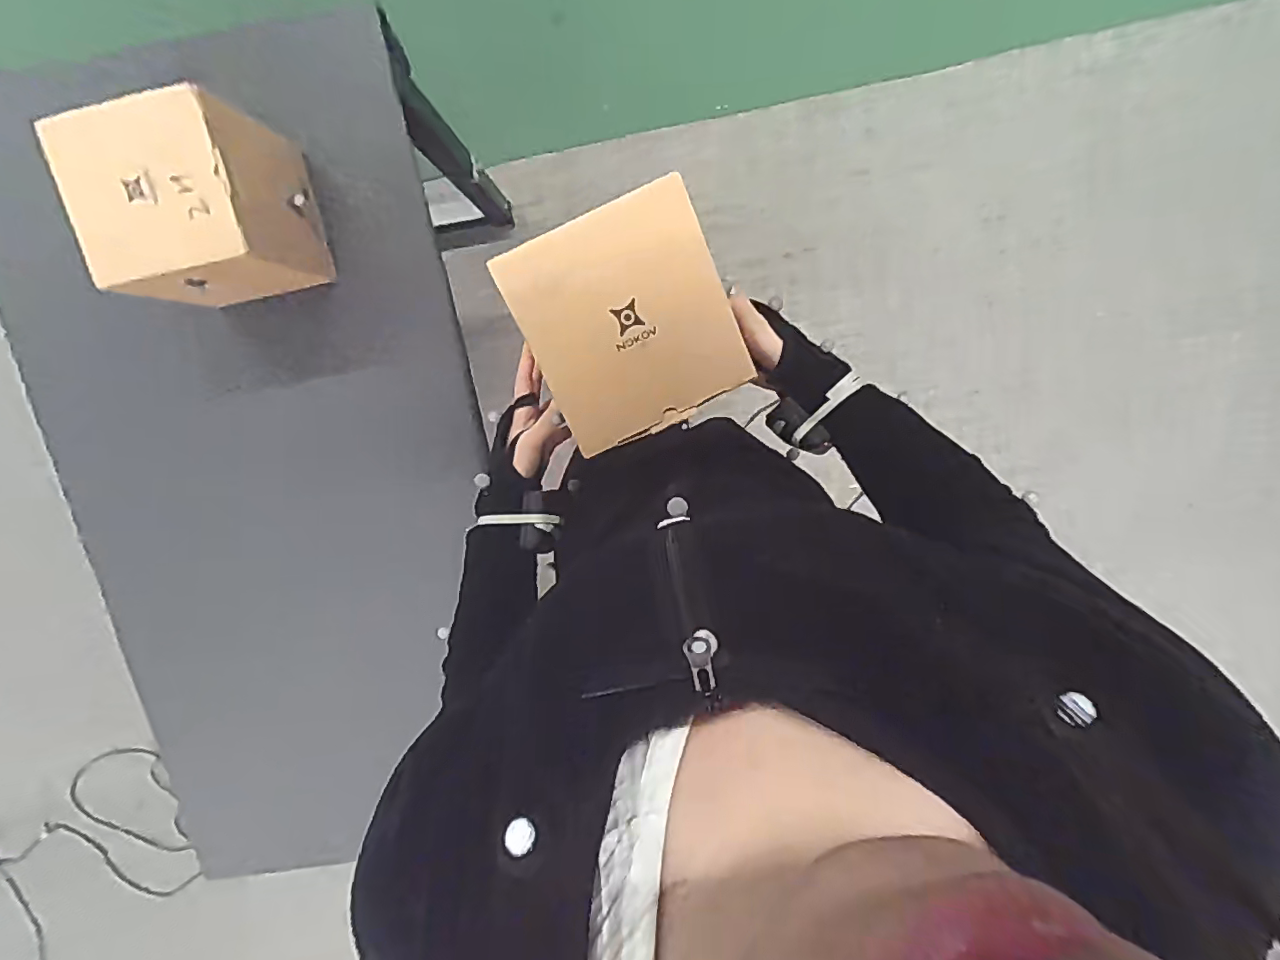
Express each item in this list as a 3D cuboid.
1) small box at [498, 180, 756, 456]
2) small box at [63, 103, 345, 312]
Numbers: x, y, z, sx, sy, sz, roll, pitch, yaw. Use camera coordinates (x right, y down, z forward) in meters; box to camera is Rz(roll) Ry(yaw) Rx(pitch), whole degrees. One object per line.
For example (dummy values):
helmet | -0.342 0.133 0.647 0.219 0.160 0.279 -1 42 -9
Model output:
small box | -0.017 -0.147 0.522 0.168 0.176 0.179 -26 107 0
small box | -0.502 -0.308 0.651 0.179 0.176 0.168 -11 101 4
